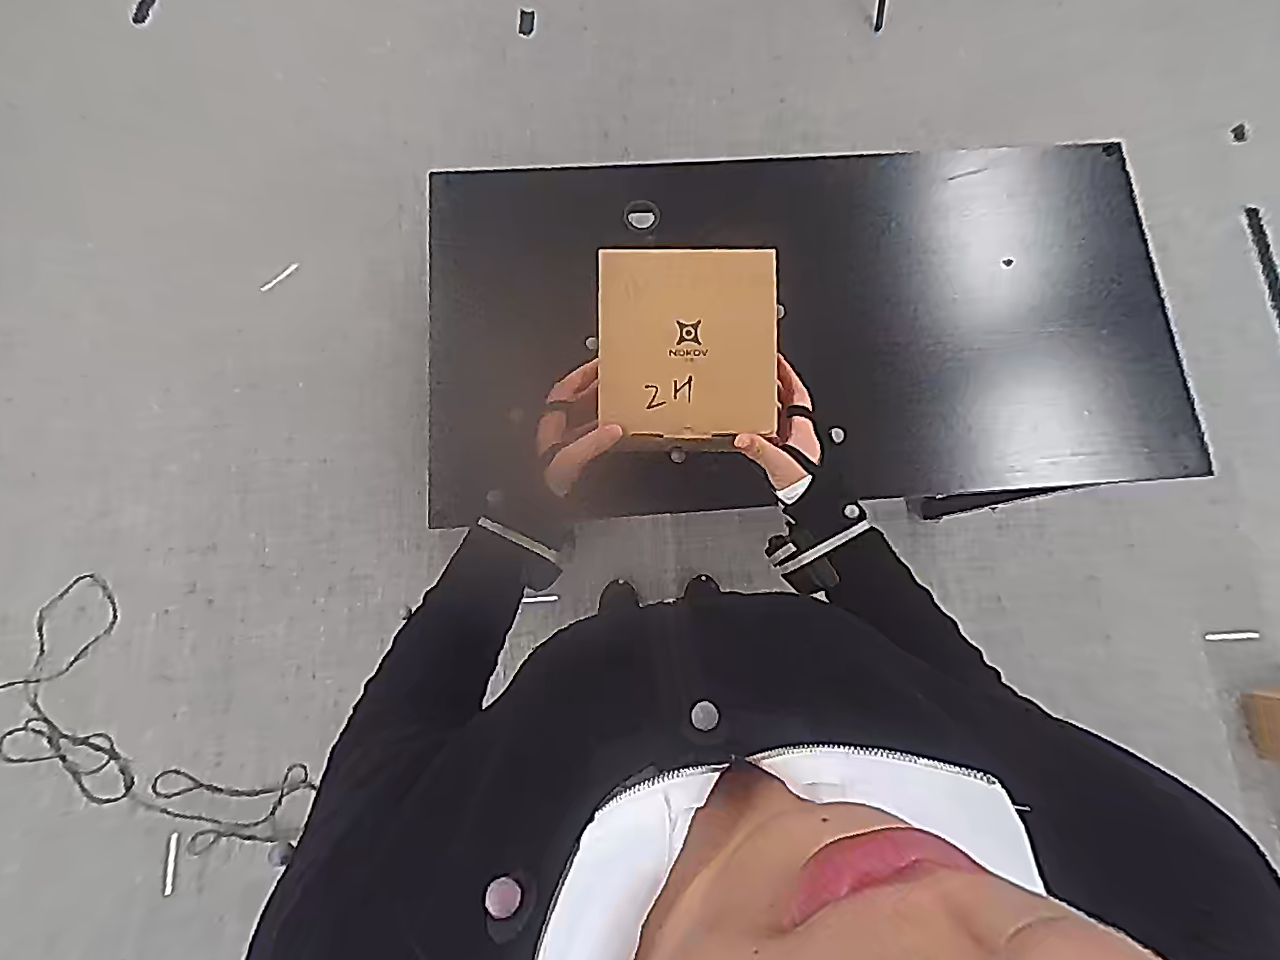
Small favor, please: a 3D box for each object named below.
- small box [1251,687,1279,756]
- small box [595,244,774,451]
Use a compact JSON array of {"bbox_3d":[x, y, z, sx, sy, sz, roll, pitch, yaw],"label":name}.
[{"bbox_3d":[1.745,0.630,1.382,0.168,0.176,0.179,-5,80,-2],"label":"small box"},{"bbox_3d":[0.041,-0.127,0.576,0.168,0.176,0.179,0,88,0],"label":"small box"}]
